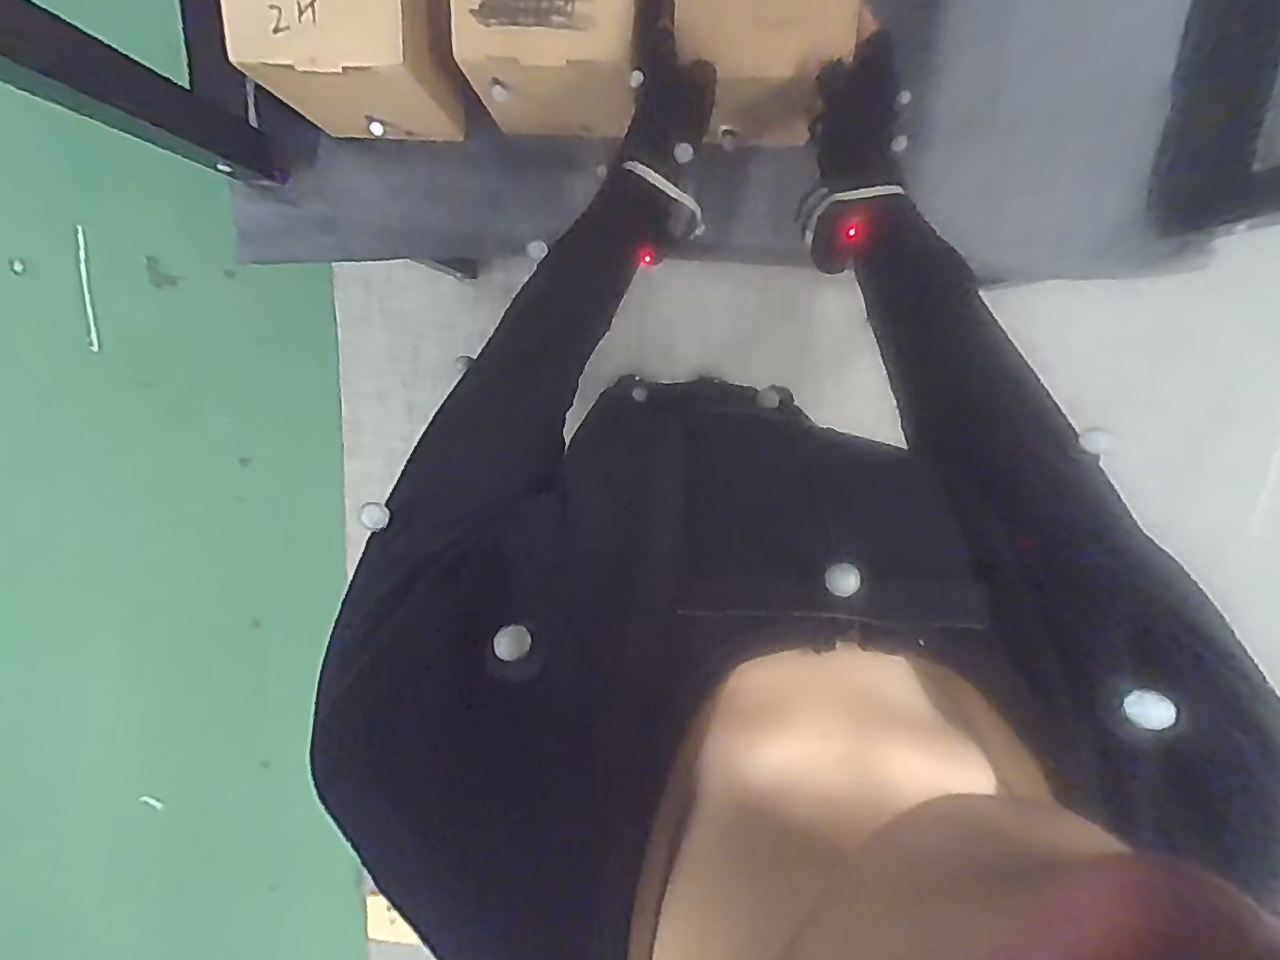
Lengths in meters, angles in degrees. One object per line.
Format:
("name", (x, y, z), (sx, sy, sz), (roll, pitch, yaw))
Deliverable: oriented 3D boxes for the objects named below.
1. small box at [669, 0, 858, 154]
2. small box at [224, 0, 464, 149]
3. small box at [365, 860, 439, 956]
("small box", (0.116, -0.465, 0.559), (0.168, 0.176, 0.179), (1, 103, 3))
("small box", (-0.290, -0.475, 0.560), (0.168, 0.176, 0.179), (2, 102, 1))
("small box", (-0.750, 1.352, 1.717), (0.168, 0.176, 0.179), (6, 103, 0))
